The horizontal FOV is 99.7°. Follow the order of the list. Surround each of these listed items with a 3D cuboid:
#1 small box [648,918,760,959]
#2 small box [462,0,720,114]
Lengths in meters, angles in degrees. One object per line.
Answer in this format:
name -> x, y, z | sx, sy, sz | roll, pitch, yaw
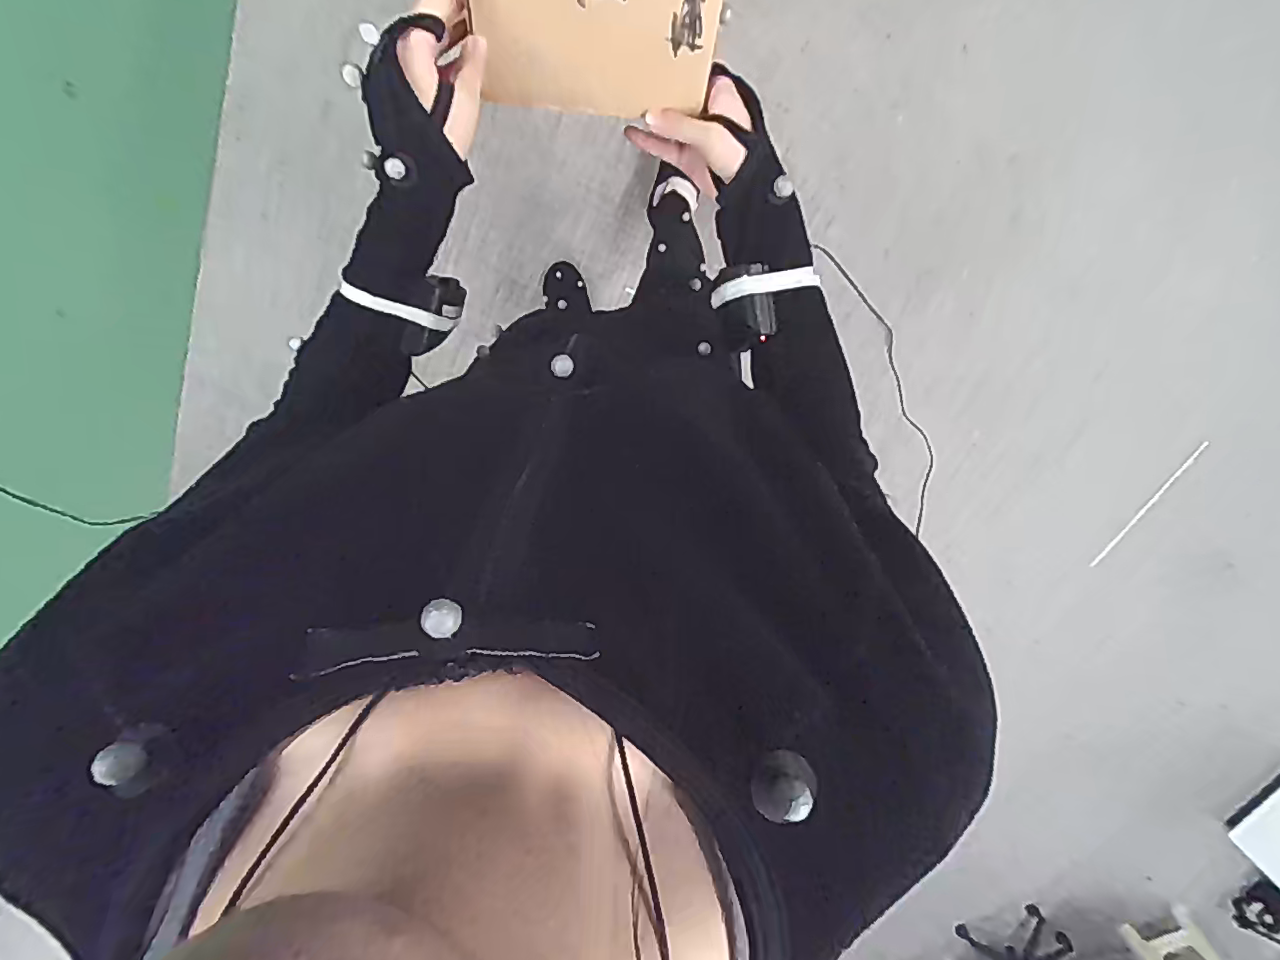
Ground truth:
small box -> 0.118, 0.928, 0.967 | 0.168, 0.176, 0.179 | 19, 115, -11
small box -> -0.032, -0.402, 0.390 | 0.179, 0.176, 0.168 | 2, 146, -8
